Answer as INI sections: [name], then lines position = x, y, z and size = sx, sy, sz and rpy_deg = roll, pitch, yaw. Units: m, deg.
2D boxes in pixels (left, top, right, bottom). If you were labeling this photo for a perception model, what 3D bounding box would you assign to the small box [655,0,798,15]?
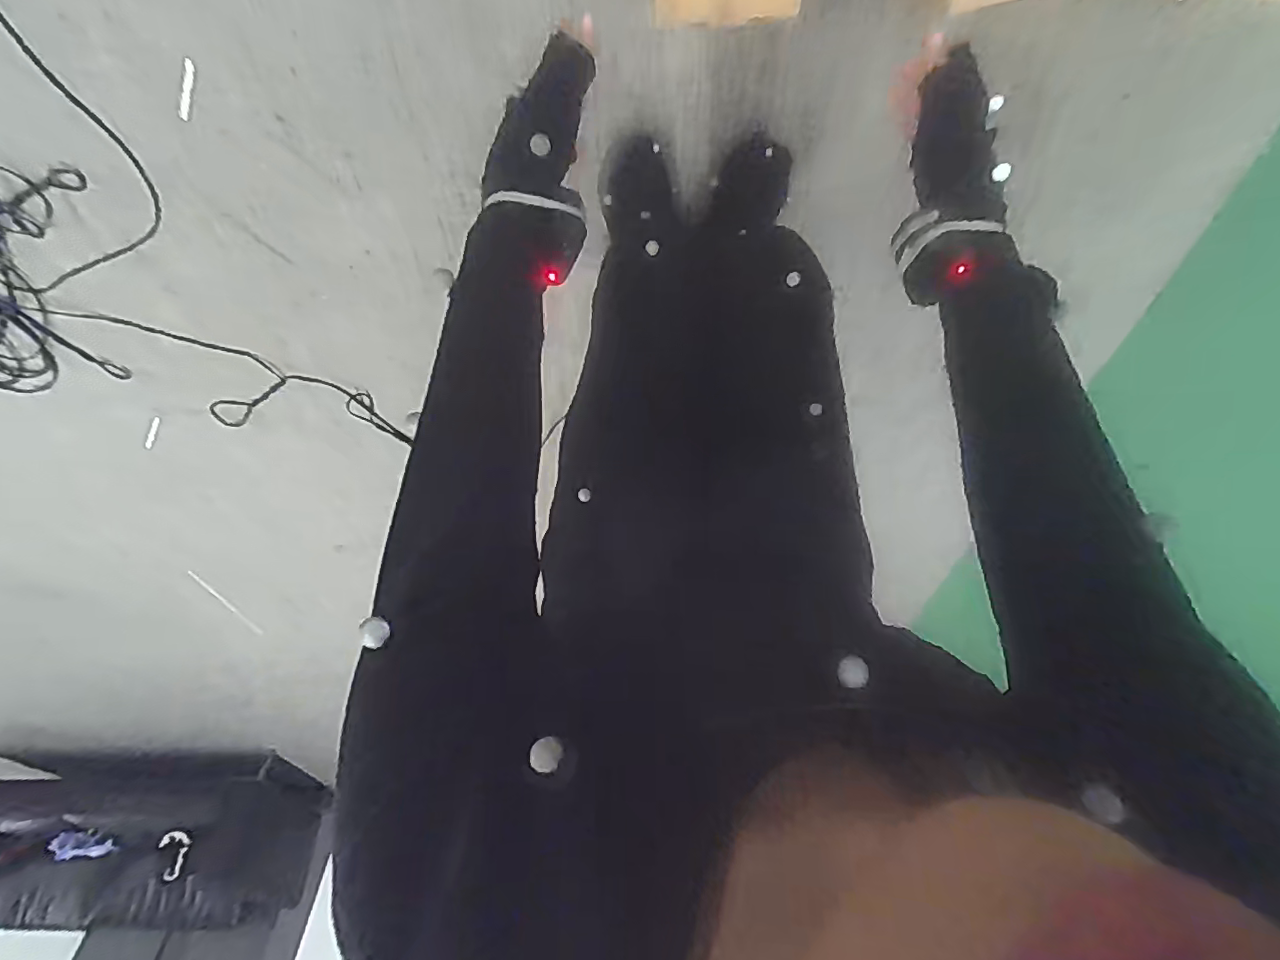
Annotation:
[small box]
position = 0.094, -0.652, 0.603
size = 0.168, 0.176, 0.179
rpy_deg = -2, 139, 5
